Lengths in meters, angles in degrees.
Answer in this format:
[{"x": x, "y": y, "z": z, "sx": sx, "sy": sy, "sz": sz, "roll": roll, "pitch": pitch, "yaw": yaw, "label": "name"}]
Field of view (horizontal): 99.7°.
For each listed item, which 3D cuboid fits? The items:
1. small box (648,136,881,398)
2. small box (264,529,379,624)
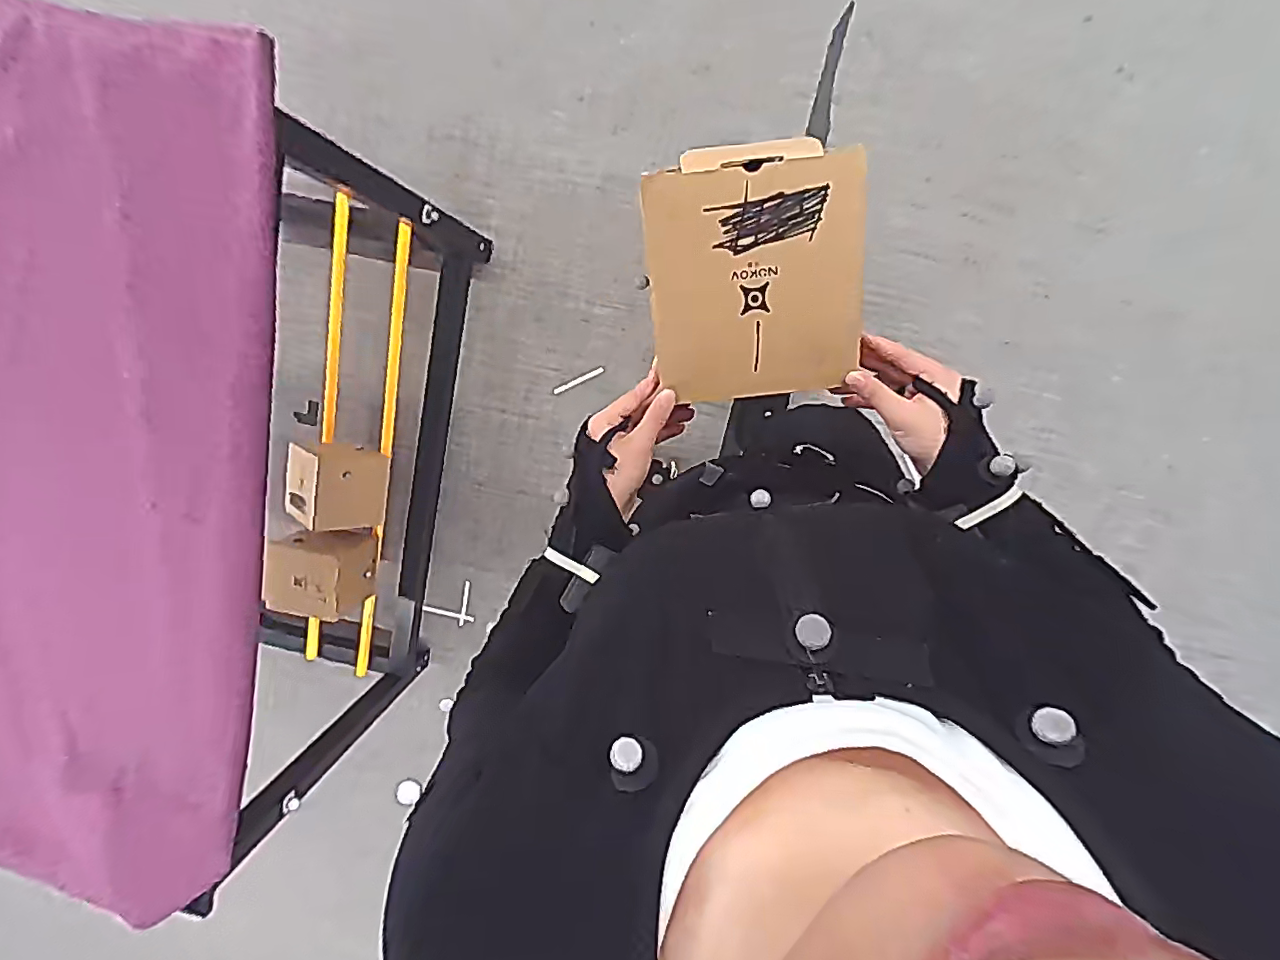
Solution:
[{"x": 0.096, "y": -0.182, "z": 0.485, "sx": 0.168, "sy": 0.176, "sz": 0.179, "roll": -5, "pitch": 112, "yaw": 2, "label": "small box"}, {"x": -0.771, "y": 0.227, "z": 1.318, "sx": 0.179, "sy": 0.176, "sz": 0.168, "roll": 10, "pitch": 102, "yaw": 3, "label": "small box"}]
